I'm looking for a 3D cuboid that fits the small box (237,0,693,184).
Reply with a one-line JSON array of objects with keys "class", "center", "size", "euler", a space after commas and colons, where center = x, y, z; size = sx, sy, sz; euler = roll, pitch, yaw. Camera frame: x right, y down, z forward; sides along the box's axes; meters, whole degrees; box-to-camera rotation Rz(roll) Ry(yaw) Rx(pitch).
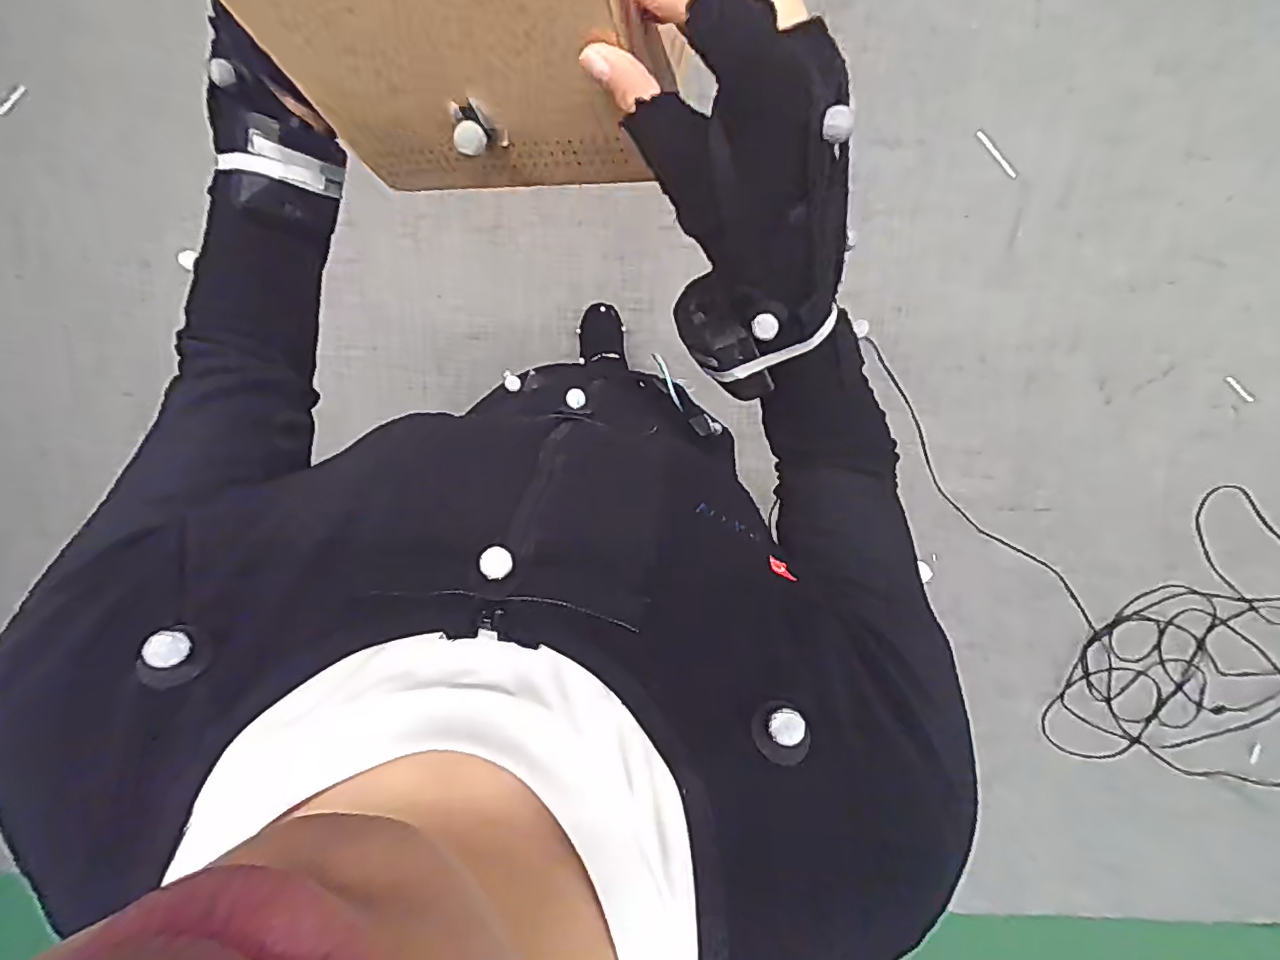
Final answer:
[{"class": "small box", "center": [-0.075, -0.271, 0.257], "size": [0.179, 0.176, 0.168], "euler": [8, 76, 18]}]
